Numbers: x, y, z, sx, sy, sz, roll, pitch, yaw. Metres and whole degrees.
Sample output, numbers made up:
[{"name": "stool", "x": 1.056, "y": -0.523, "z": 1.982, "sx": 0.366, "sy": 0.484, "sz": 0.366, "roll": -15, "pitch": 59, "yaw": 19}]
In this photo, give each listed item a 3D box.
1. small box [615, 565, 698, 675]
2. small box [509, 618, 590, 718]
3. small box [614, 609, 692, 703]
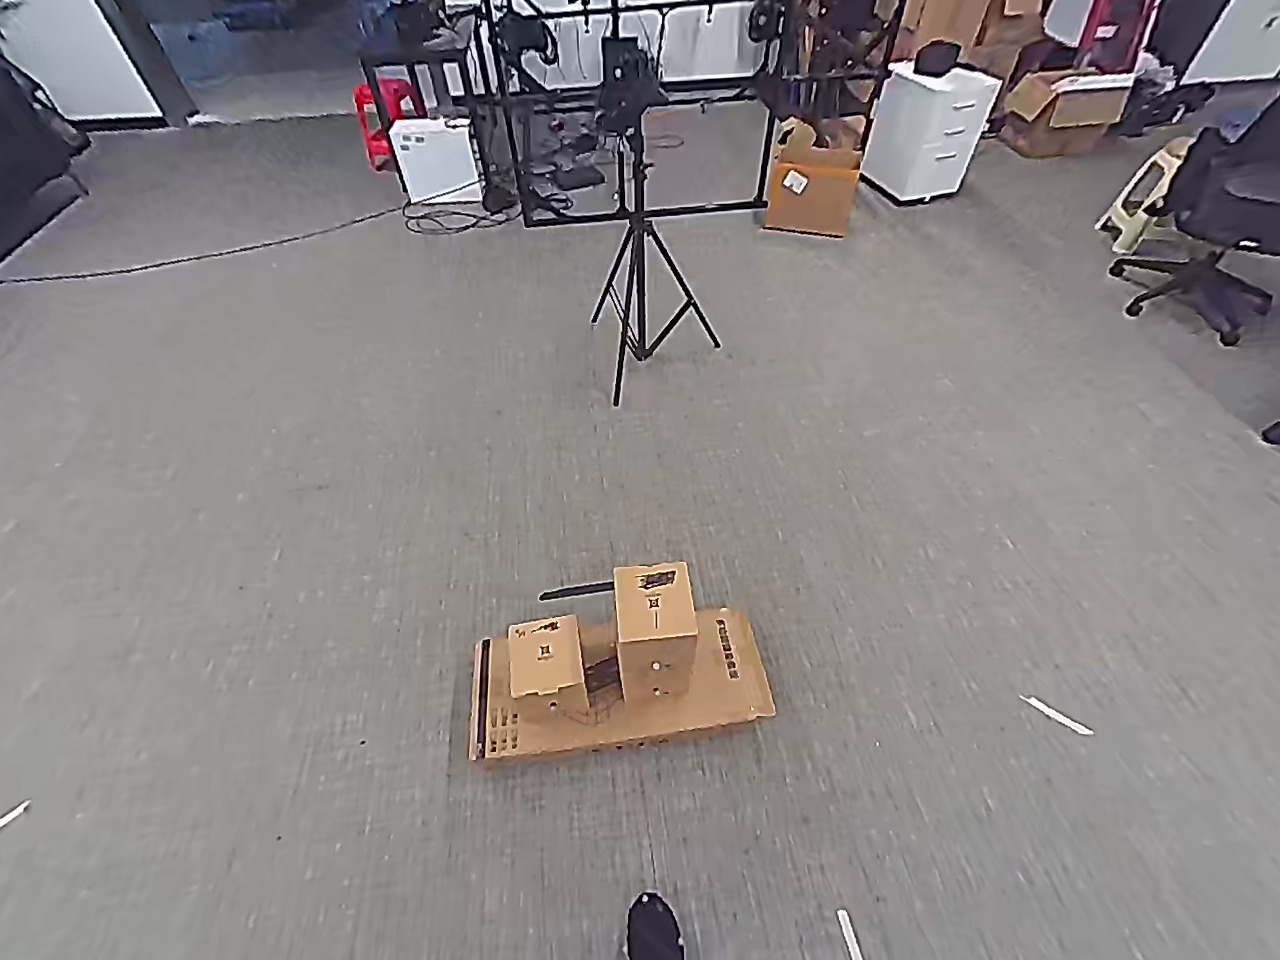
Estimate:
[{"name": "small box", "x": 0.032, "y": 0.314, "z": 1.209, "sx": 0.168, "sy": 0.176, "sz": 0.179, "roll": -5, "pitch": 50, "yaw": -2}, {"name": "small box", "x": -0.217, "y": 0.460, "z": 1.306, "sx": 0.168, "sy": 0.176, "sz": 0.179, "roll": -9, "pitch": 50, "yaw": -6}, {"name": "small box", "x": 0.027, "y": 0.424, "z": 1.332, "sx": 0.168, "sy": 0.176, "sz": 0.179, "roll": -8, "pitch": 49, "yaw": -5}]
